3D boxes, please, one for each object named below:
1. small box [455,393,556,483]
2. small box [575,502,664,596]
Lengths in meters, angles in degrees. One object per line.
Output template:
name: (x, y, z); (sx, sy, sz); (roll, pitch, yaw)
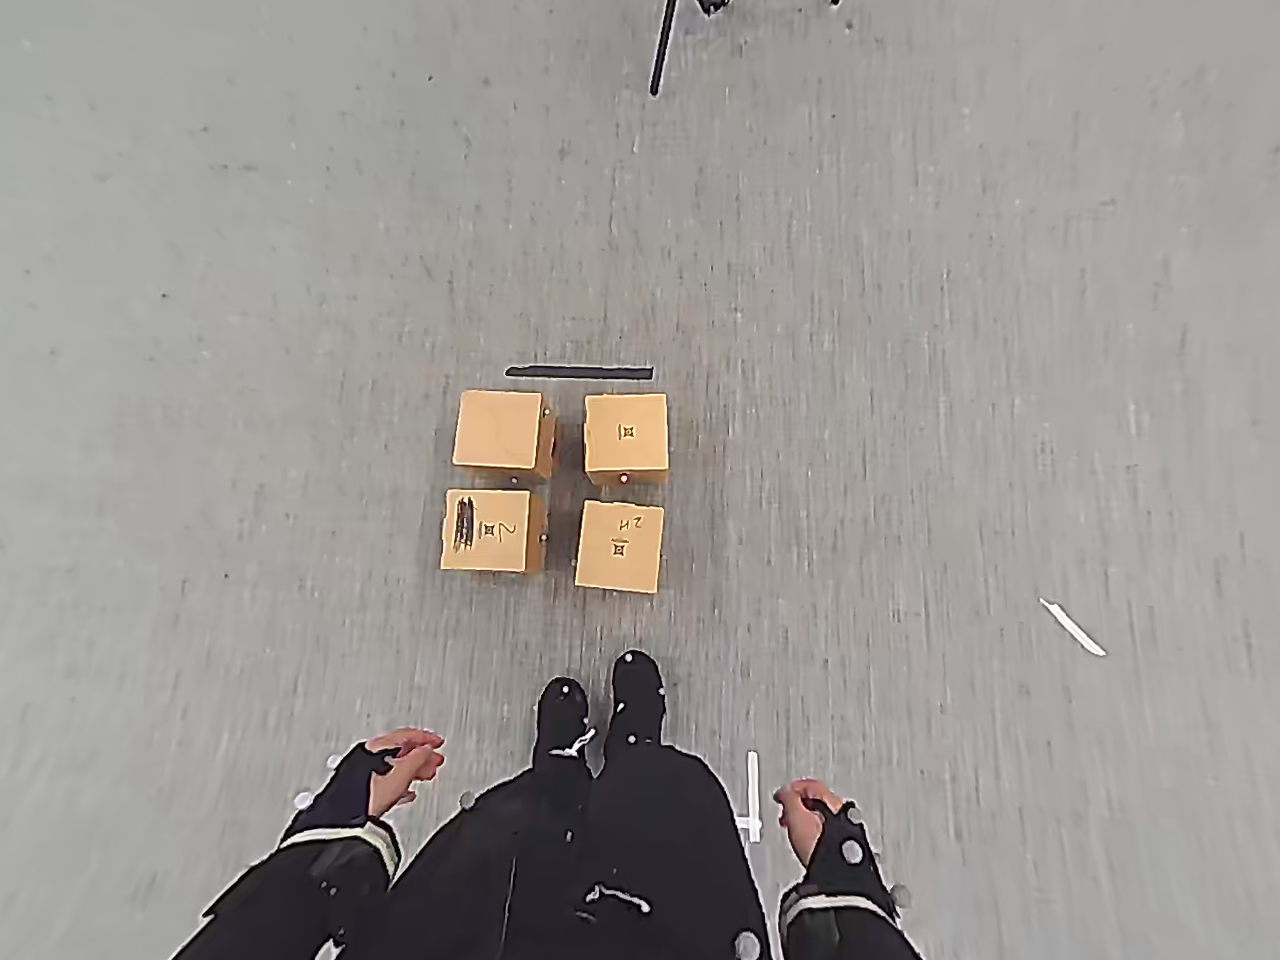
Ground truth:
small box: (-0.296, -0.090, 1.220); (0.179, 0.176, 0.168); (3, 79, 2)
small box: (-0.038, 0.151, 1.169); (0.168, 0.176, 0.179); (6, 80, 2)
